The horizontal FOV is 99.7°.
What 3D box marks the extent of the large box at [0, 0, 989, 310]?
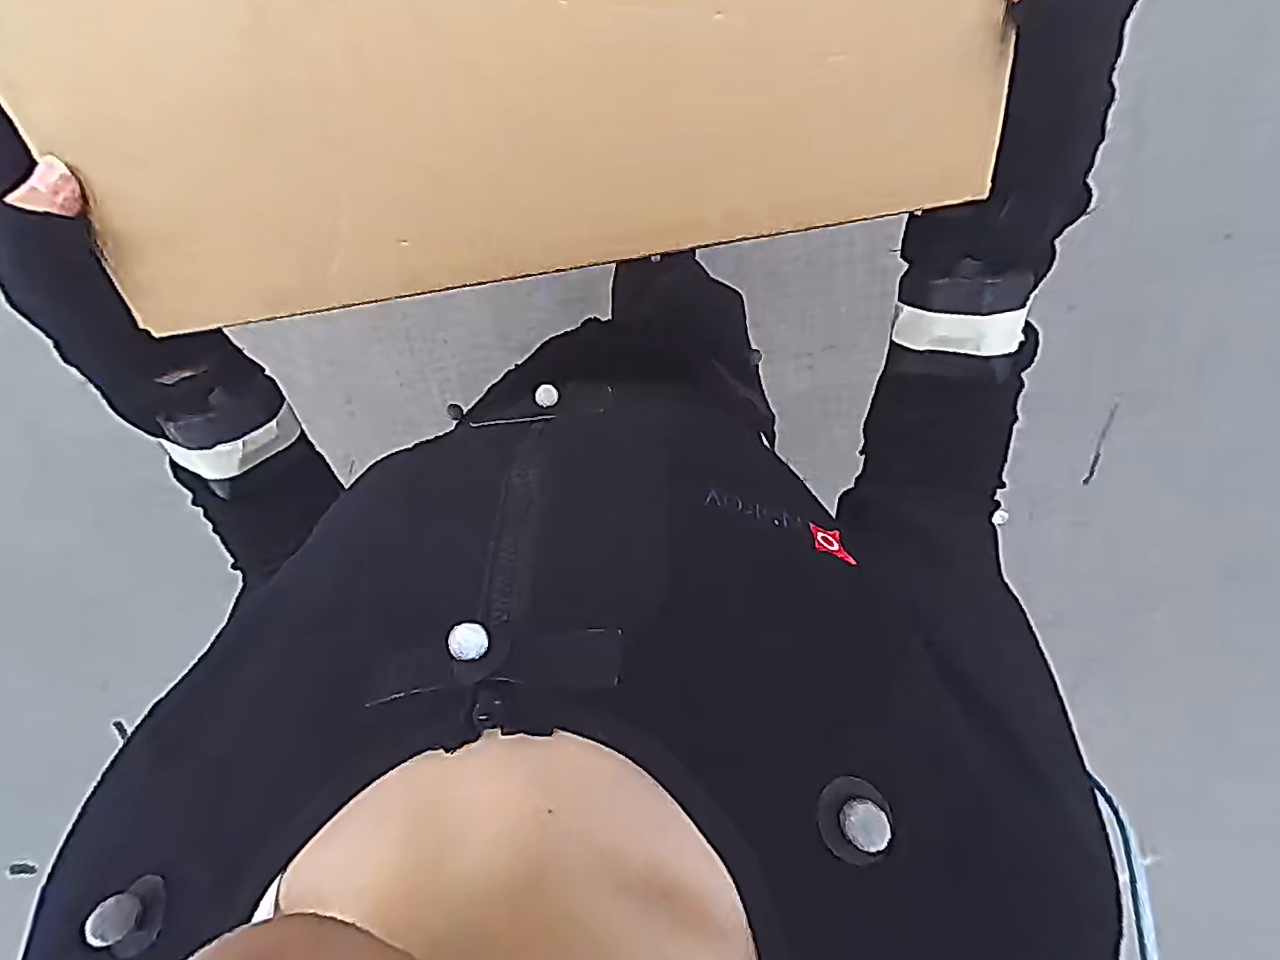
[{"bbox_3d":[-0.070,-0.320,0.319,0.408,0.320,0.320,-8,121,4],"label":"large box"}]
